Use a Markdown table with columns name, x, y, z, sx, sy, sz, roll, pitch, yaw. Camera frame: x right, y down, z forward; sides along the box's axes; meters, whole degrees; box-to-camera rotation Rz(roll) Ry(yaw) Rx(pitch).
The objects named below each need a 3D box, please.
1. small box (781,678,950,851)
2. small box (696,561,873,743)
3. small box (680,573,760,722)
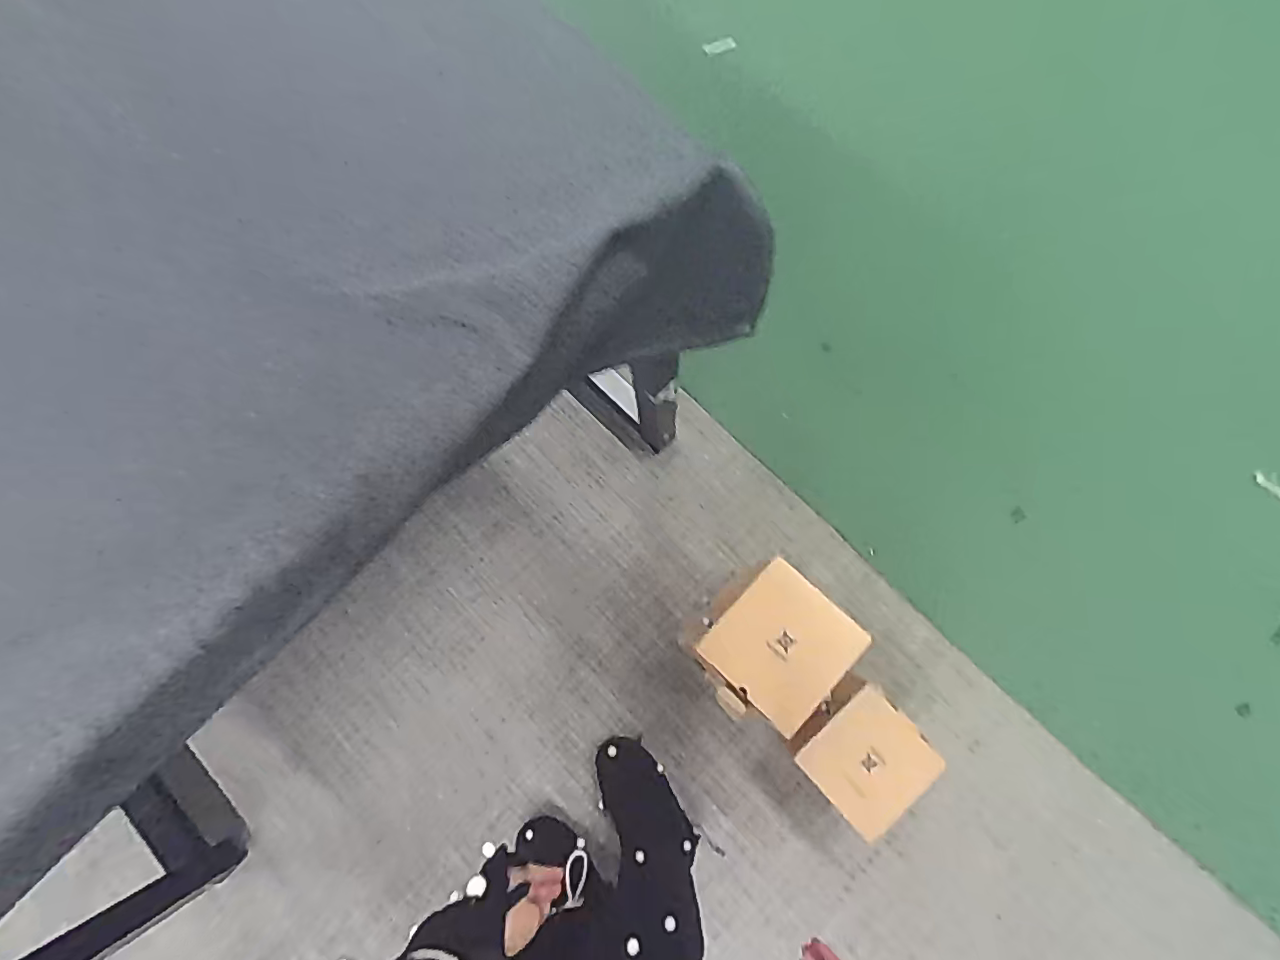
| name | x | y | z | sx | sy | sz | roll | pitch | yaw |
| --- | --- | --- | --- | --- | --- | --- | --- | --- | --- |
| small box | 0.362 | 0.458 | 0.908 | 0.179 | 0.176 | 0.168 | -43 | 78 | -5 |
| small box | 0.196 | 0.240 | 0.793 | 0.168 | 0.176 | 0.179 | 42 | 83 | 10 |
| small box | 0.188 | 0.286 | 0.951 | 0.168 | 0.176 | 0.179 | 44 | 83 | 12 |
